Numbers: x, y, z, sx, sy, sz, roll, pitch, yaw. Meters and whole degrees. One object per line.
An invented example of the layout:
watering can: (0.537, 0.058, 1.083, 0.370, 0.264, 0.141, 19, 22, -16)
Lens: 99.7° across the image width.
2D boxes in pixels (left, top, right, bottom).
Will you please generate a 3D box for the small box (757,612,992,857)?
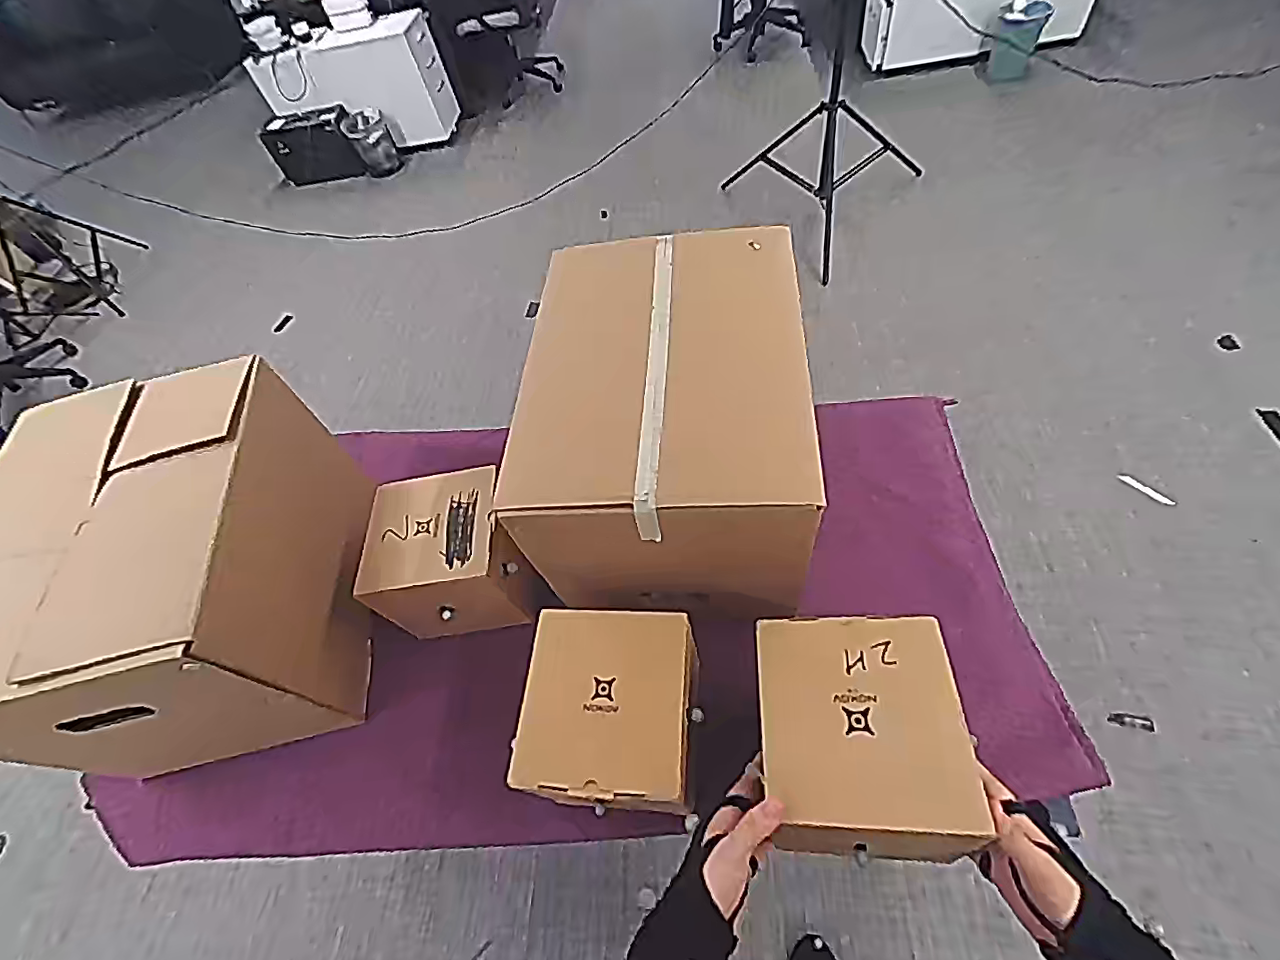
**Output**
small box: (0.204, 0.245, 0.520, 0.168, 0.176, 0.179, -4, 48, 13)
